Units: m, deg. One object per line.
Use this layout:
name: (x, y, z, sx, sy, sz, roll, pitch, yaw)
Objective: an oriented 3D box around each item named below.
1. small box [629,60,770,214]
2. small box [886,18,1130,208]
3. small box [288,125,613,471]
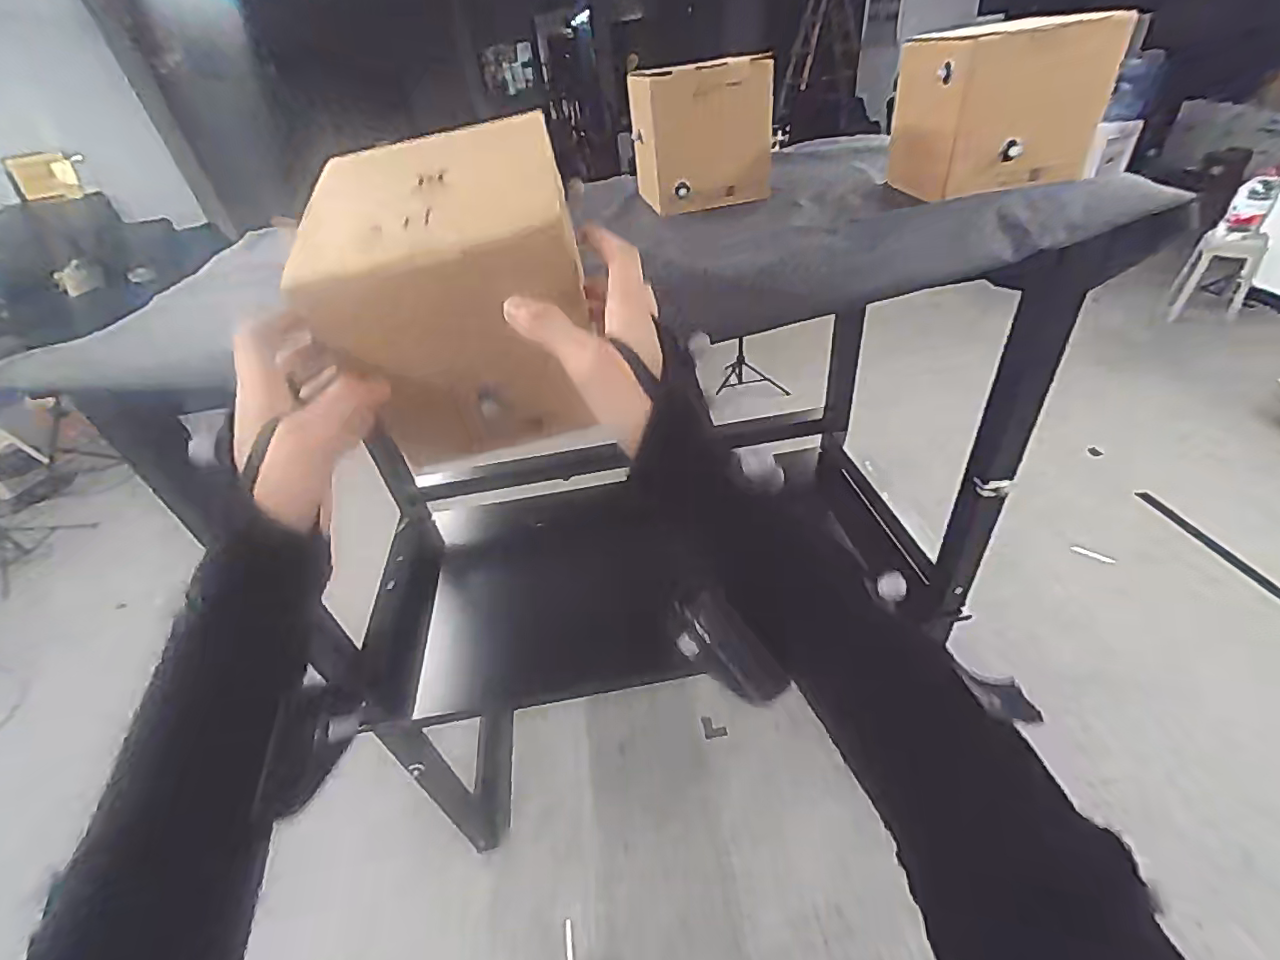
small box: (0.086, -0.508, 0.807, 0.168, 0.176, 0.179, -12, 38, -4)
small box: (0.430, -0.452, 0.674, 0.168, 0.176, 0.179, -8, 39, 2)
small box: (-0.122, -0.135, 0.416, 0.168, 0.176, 0.179, -13, 53, 0)
